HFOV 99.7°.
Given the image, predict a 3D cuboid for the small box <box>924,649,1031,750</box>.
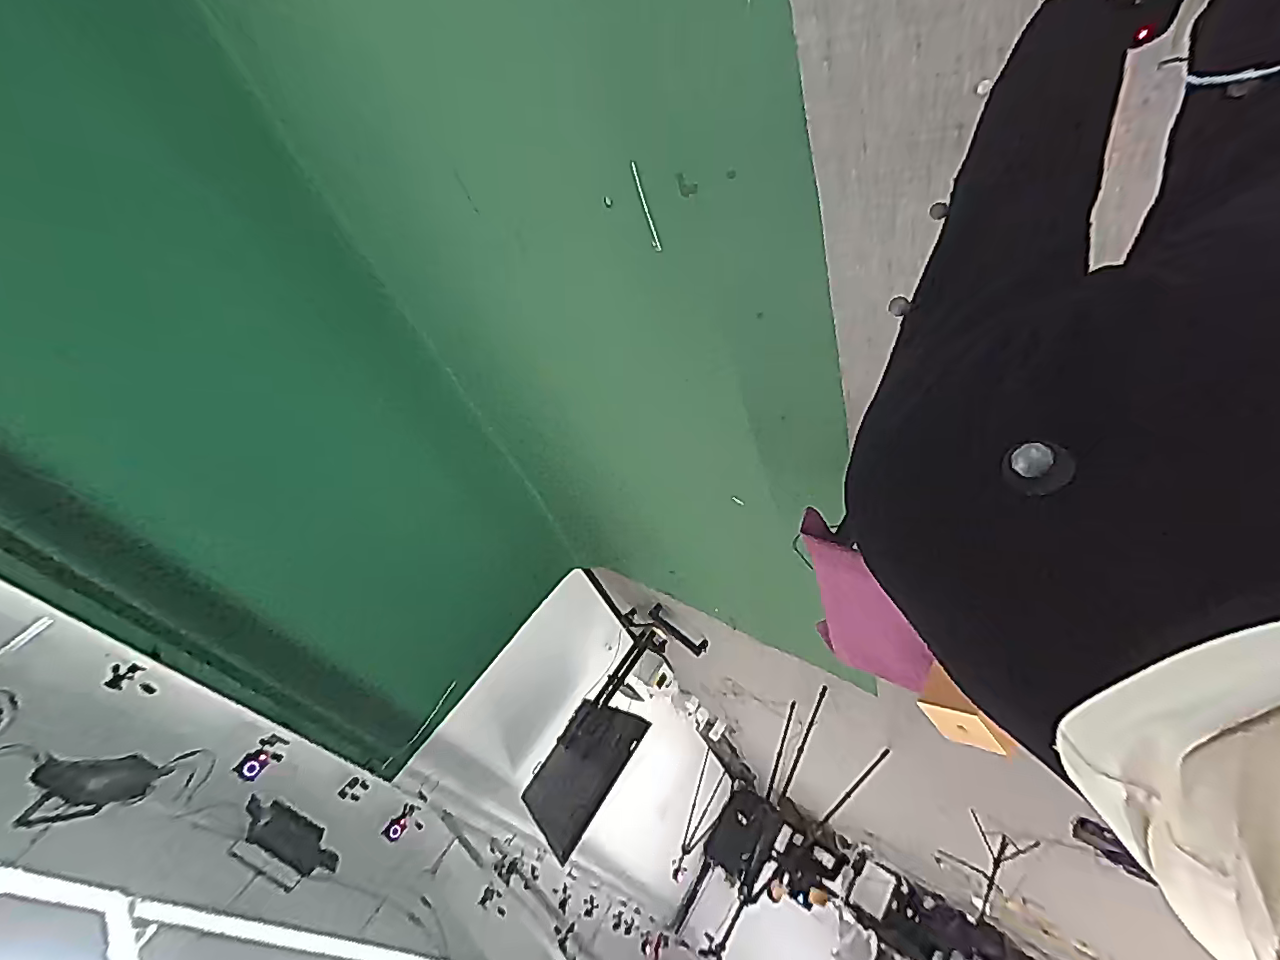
[{"bbox_3d":[0.912,0.582,1.459,0.179,0.176,0.168,47,153,-15],"label":"small box"}]
